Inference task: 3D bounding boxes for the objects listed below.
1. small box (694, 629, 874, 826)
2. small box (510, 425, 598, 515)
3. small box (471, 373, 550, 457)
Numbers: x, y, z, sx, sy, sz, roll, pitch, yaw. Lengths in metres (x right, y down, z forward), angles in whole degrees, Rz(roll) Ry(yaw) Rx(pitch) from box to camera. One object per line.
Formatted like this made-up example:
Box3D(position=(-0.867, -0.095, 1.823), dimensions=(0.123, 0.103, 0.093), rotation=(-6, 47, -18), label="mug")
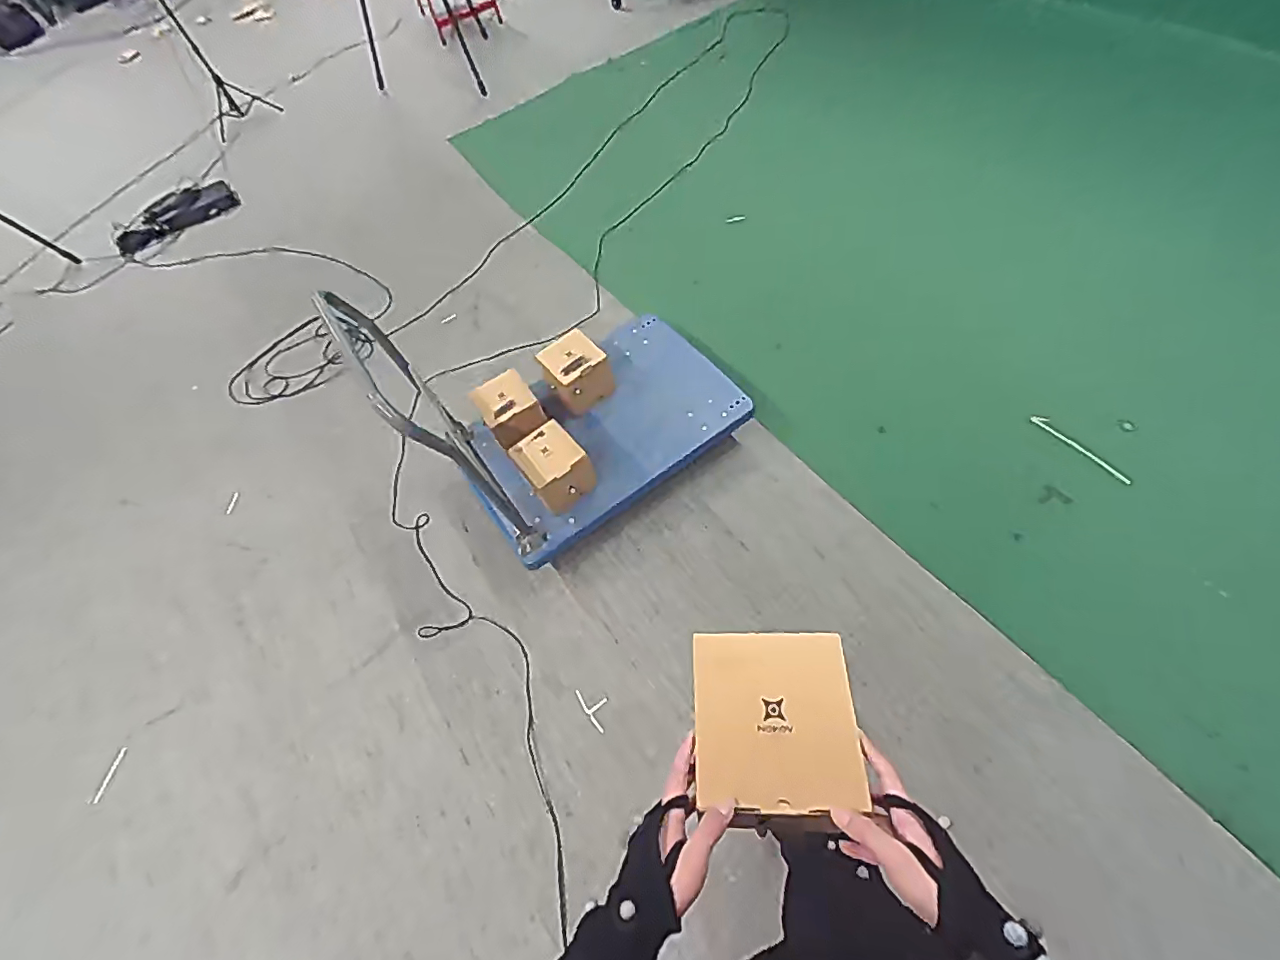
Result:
Box3D(position=(0.147, 0.287, 0.623), dimensions=(0.168, 0.176, 0.179), rotation=(-1, 55, 5), label="small box")
Box3D(position=(-0.244, -0.020, 1.571), dimensions=(0.168, 0.176, 0.179), rotation=(-37, 61, -13), label="small box")
Box3D(position=(-0.396, -0.193, 1.697), dimensions=(0.168, 0.176, 0.179), rotation=(-32, 59, -11), label="small box")
